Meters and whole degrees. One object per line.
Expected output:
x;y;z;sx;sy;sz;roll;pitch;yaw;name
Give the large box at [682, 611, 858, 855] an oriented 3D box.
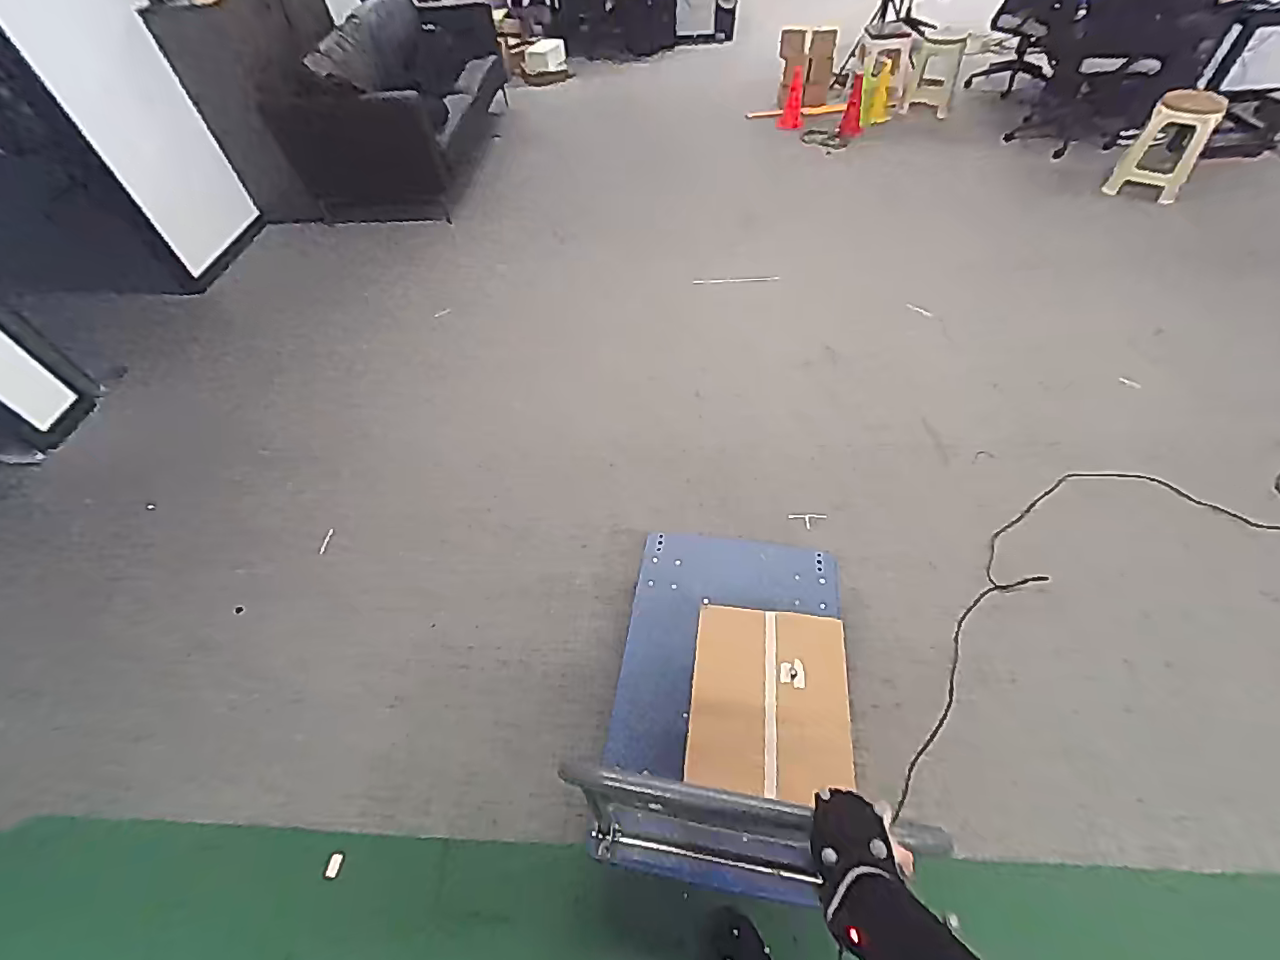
0.265;0.554;1.194;0.320;0.320;0.408;6;51;8;large box
